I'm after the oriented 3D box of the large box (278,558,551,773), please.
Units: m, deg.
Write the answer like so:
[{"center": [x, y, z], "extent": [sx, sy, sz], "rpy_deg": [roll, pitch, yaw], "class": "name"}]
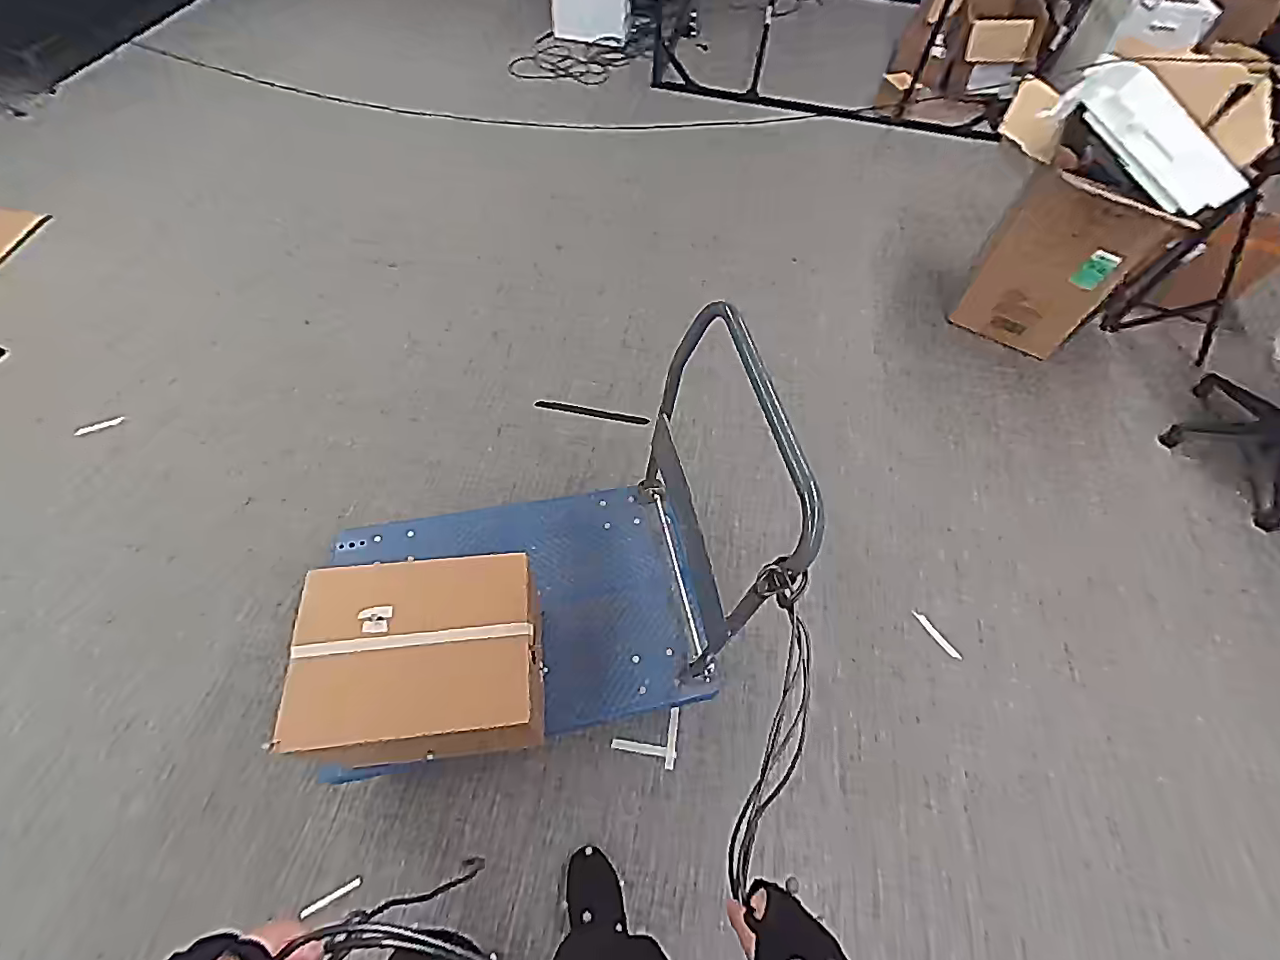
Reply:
[{"center": [-0.397, 0.374, 1.070], "extent": [0.408, 0.320, 0.320], "rpy_deg": [-4, 57, -6], "class": "large box"}]
